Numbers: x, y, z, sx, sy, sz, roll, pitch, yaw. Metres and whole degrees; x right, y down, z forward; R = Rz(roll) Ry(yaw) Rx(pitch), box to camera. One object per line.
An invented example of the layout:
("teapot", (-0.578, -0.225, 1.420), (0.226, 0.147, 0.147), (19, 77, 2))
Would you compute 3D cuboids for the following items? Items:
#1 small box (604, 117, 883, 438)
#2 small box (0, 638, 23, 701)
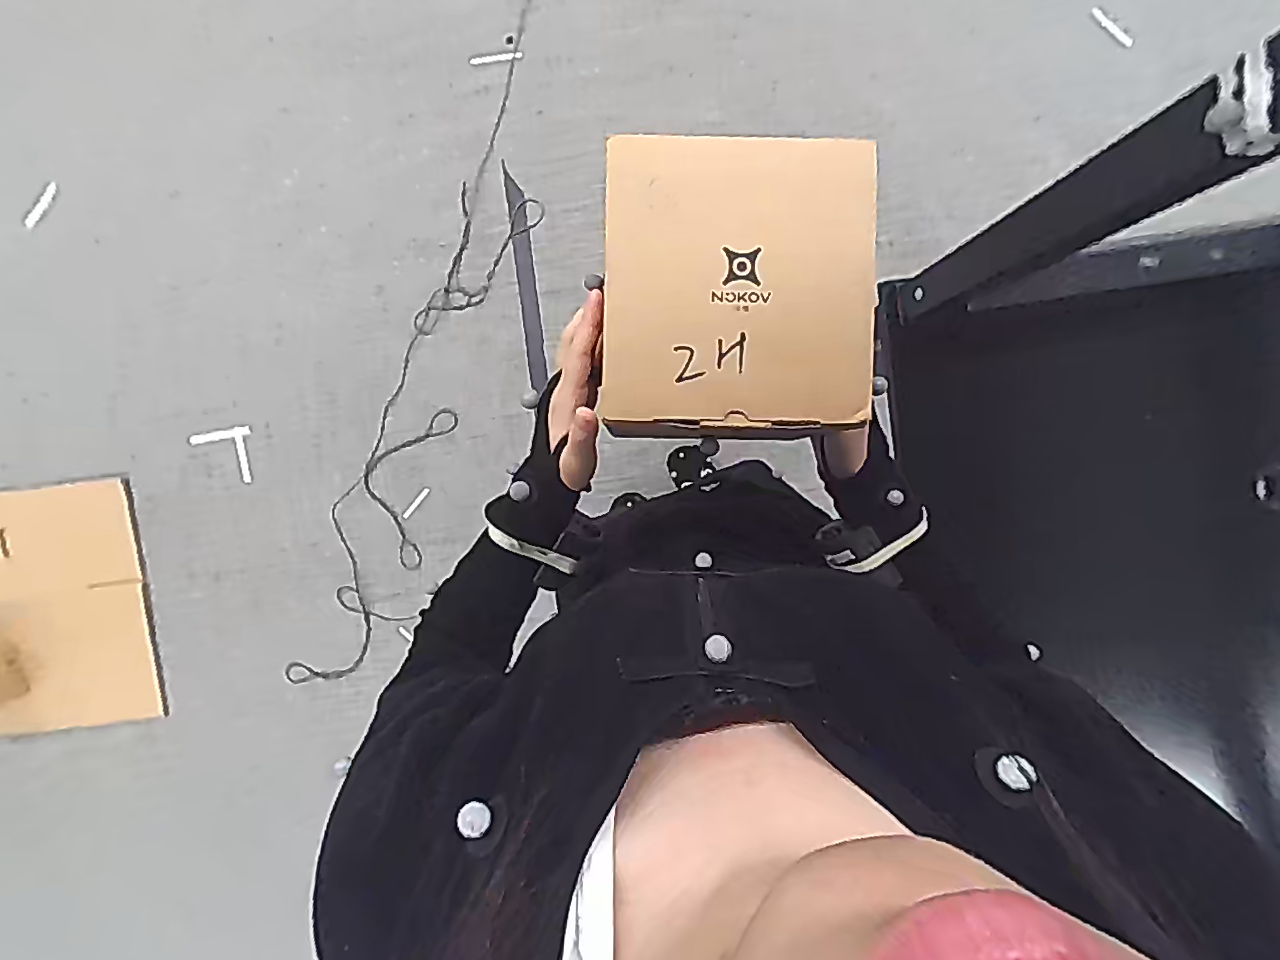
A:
("small box", (0.060, -0.127, 0.401), (0.168, 0.176, 0.179), (1, 91, -1))
("small box", (-1.855, 0.549, 1.469), (0.179, 0.176, 0.168), (-14, 93, 1))
